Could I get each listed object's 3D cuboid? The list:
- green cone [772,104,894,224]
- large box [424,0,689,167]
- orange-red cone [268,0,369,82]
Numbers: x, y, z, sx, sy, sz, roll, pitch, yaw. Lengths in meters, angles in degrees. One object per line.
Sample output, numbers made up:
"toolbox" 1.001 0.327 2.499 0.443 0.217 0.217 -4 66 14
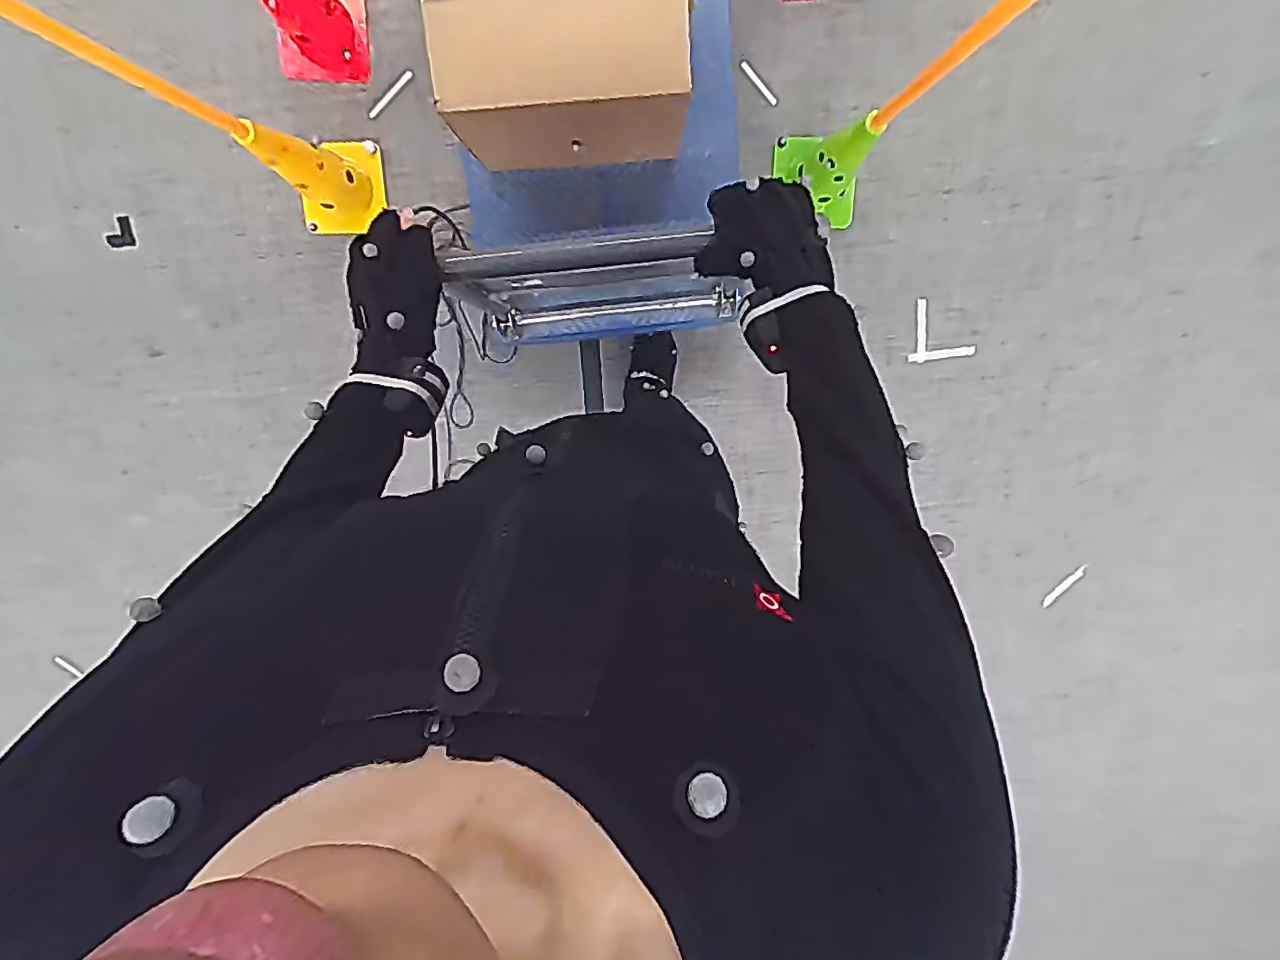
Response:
"green cone" 0.424 -0.685 1.137 0.202 0.368 0.200 -1 104 -1
"large box" -0.131 -0.785 0.961 0.408 0.320 0.320 -4 104 1
"orange-red cone" -0.713 -0.985 1.060 0.198 0.360 0.199 2 102 -2
